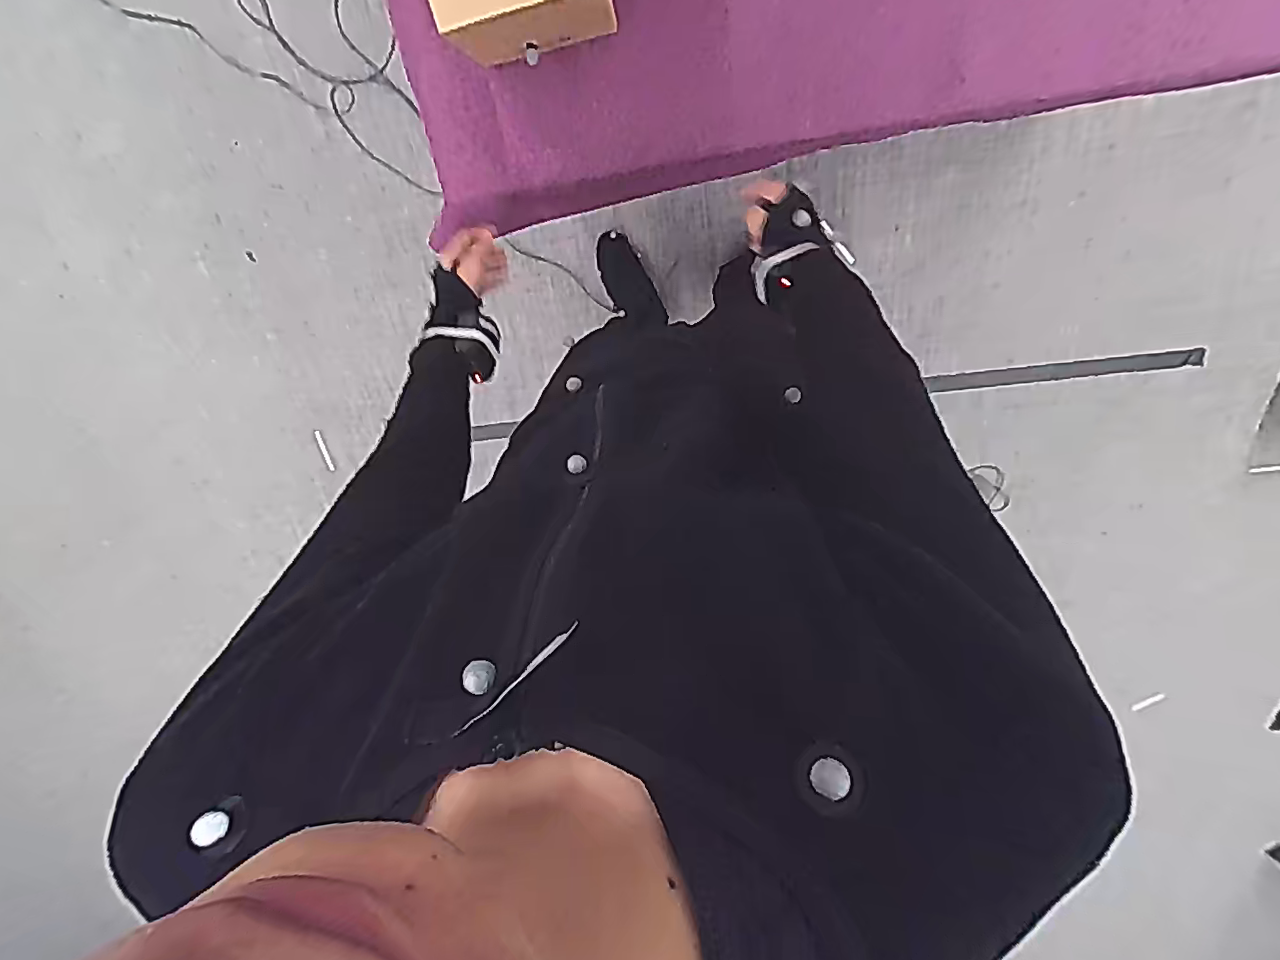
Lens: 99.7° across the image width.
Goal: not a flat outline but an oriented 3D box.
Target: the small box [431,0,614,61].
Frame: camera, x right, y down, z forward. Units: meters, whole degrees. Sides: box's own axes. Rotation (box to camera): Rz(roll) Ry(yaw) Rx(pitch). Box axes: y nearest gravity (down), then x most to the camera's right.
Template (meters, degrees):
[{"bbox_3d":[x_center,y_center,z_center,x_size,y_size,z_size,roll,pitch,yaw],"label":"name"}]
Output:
[{"bbox_3d":[-0.126,-0.557,0.535,0.168,0.176,0.179,-10,117,8],"label":"small box"}]
